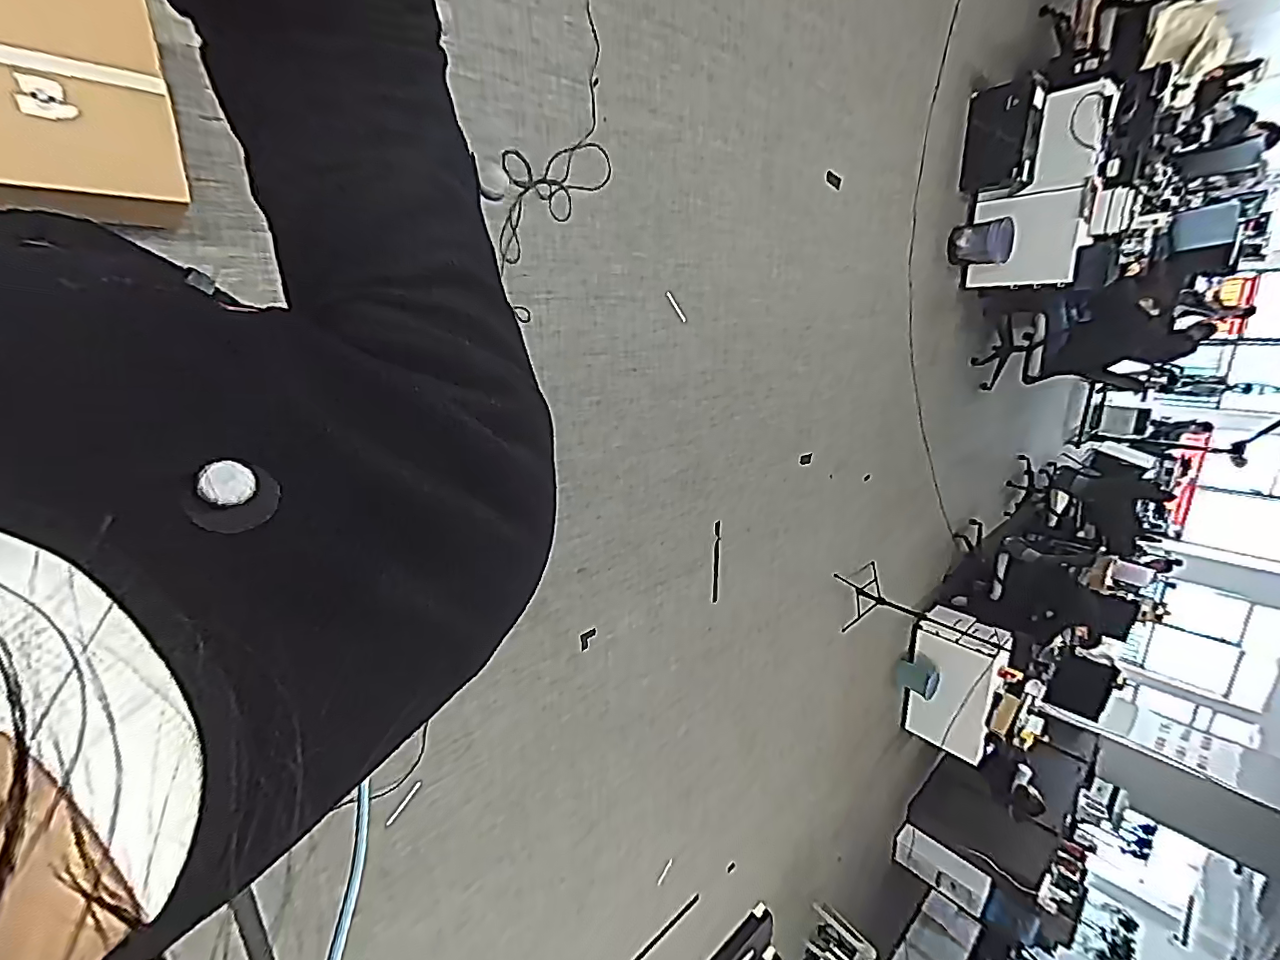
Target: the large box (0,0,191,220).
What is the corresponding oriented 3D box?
[{"bbox_3d":[-0.959,-0.586,0.790,0.408,0.320,0.320,-15,112,-40],"label":"large box"}]
